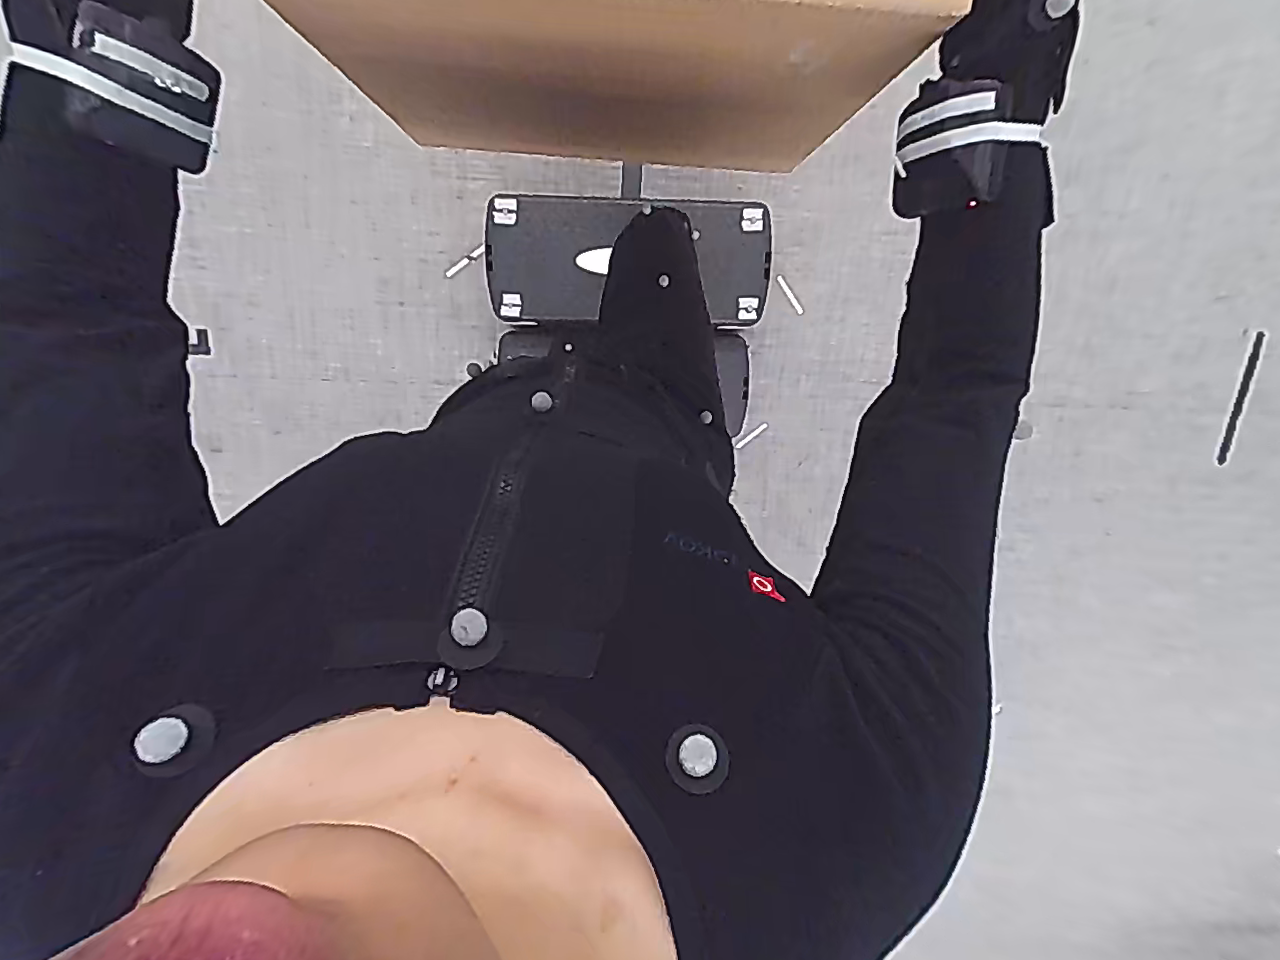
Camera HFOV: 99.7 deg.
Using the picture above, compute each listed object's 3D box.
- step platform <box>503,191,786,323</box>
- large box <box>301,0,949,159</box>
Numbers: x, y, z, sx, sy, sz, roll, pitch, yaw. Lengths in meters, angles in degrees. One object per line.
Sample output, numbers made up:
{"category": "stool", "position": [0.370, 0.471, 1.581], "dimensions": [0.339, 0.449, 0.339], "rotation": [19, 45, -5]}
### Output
{"category": "step platform", "position": [0.010, -0.543, 1.346], "dimensions": [0.684, 0.204, 0.286], "rotation": [0, 106, -3]}
{"category": "large box", "position": [-0.019, -0.463, 0.402], "dimensions": [0.408, 0.320, 0.320], "rotation": [2, 106, -4]}
